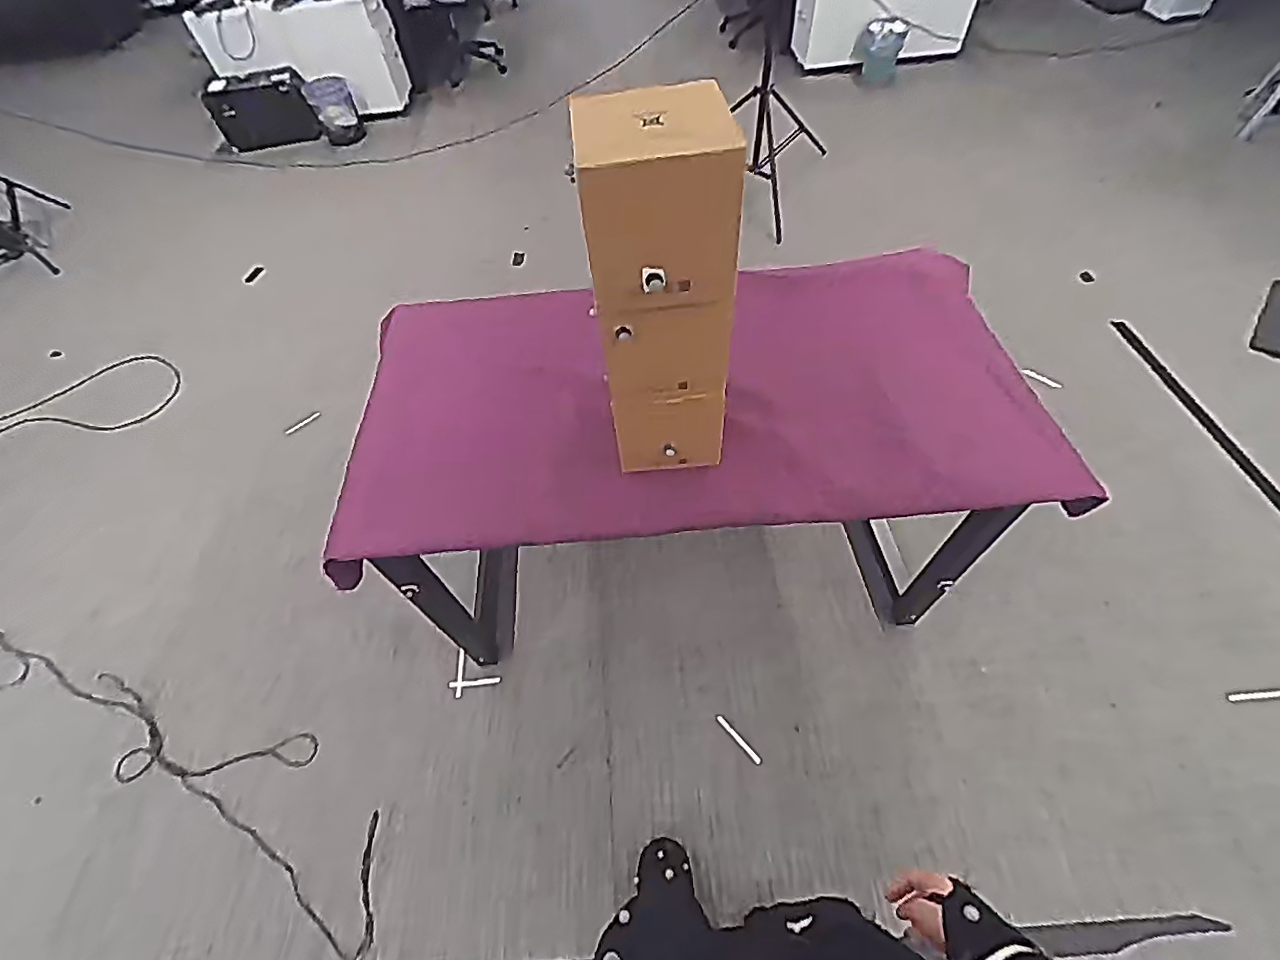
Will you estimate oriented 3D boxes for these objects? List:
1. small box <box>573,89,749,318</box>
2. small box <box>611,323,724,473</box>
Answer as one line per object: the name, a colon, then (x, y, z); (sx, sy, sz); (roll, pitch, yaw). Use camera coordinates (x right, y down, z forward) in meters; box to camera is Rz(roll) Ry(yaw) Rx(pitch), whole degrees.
small box: (0.019, -0.314, 0.622); (0.168, 0.176, 0.179); (-8, 55, 0)
small box: (0.042, -0.133, 0.893); (0.168, 0.176, 0.179); (-4, 54, 2)
